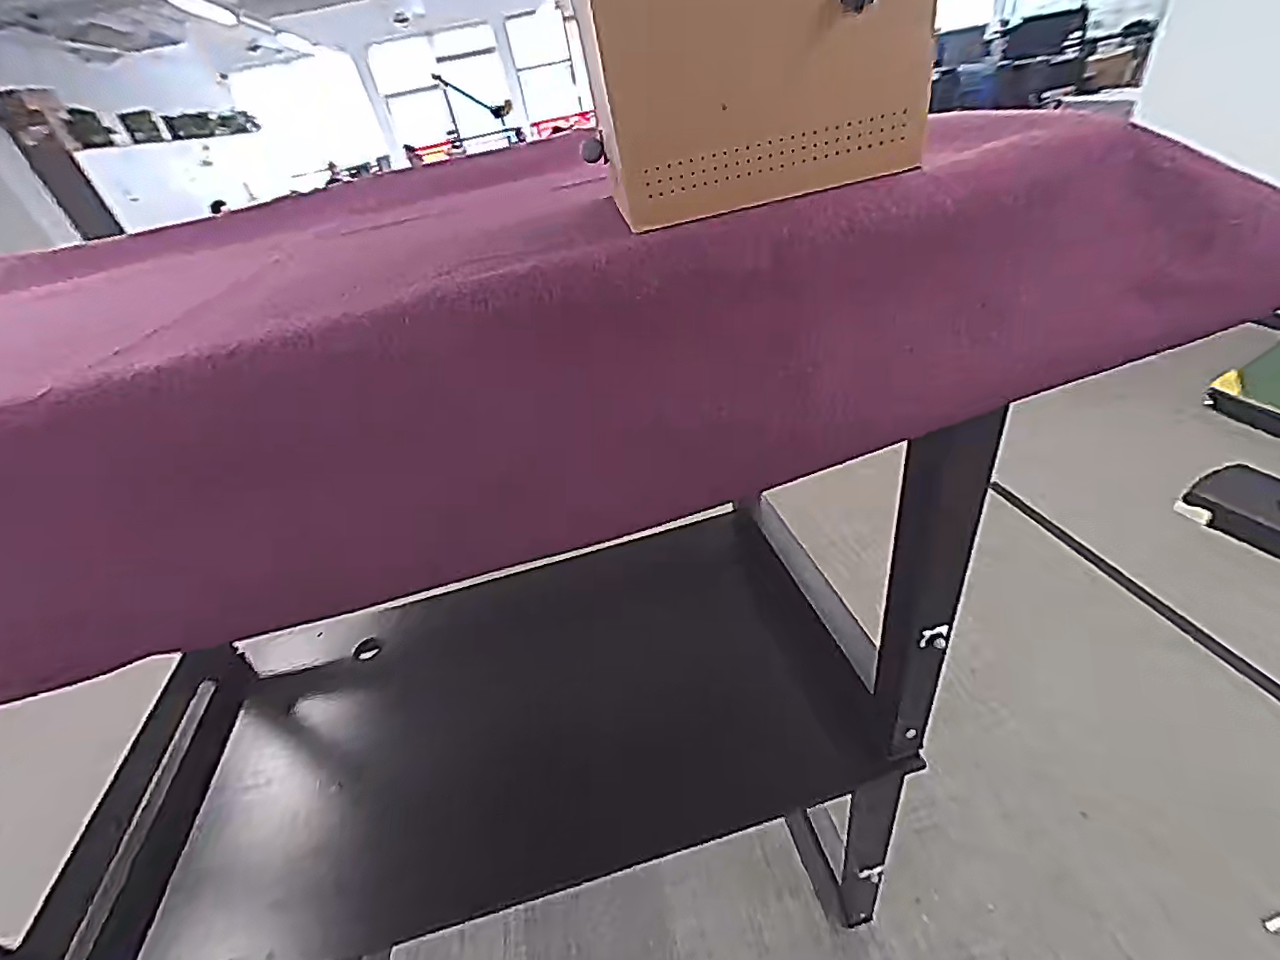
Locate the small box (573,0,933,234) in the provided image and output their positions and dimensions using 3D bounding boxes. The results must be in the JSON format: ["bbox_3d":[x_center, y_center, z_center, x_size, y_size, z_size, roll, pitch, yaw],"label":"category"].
[{"bbox_3d":[0.055,-0.268,0.328,0.179,0.176,0.168,-13,35,0],"label":"small box"}]
